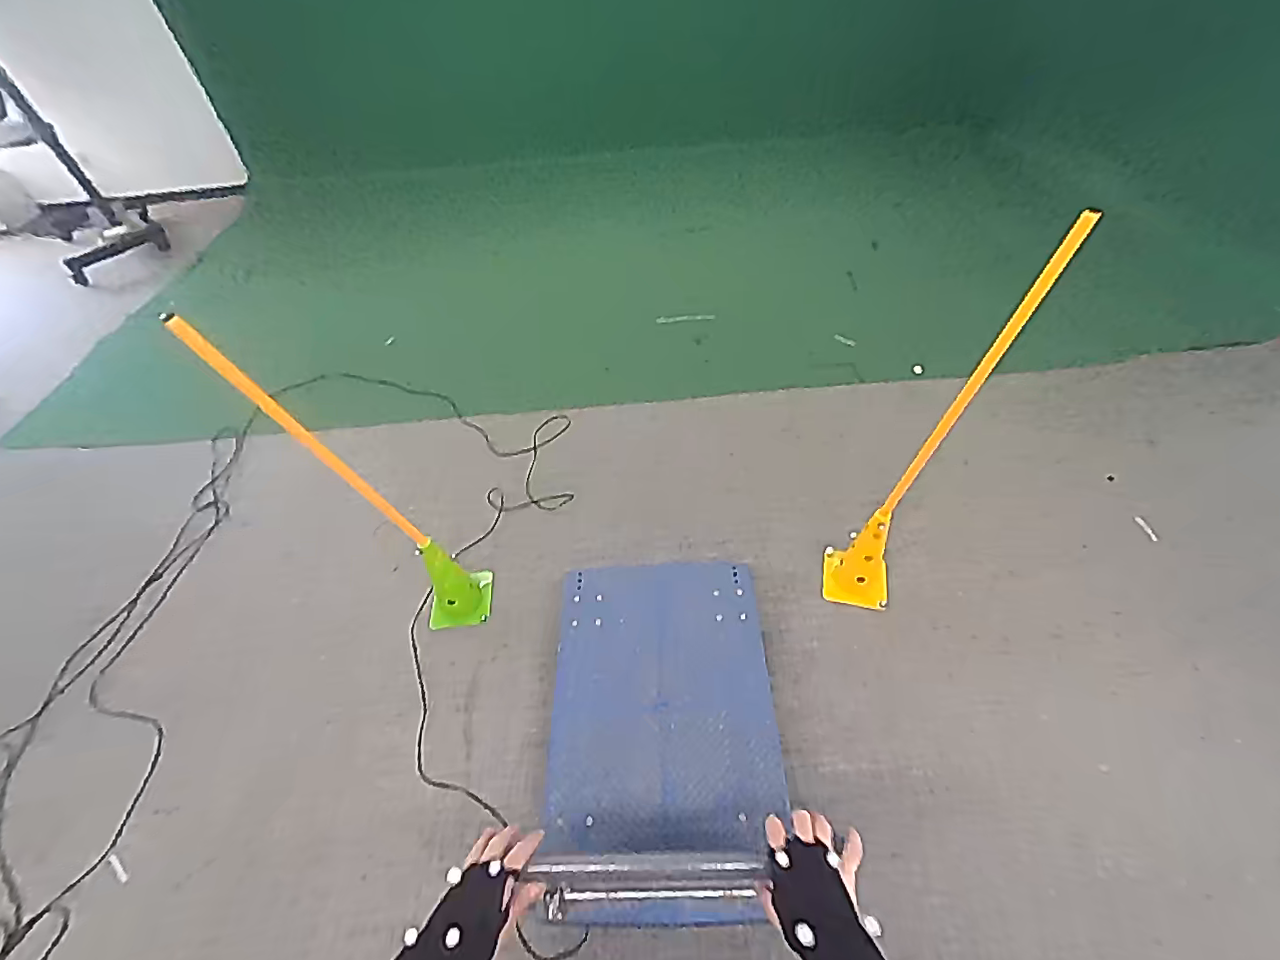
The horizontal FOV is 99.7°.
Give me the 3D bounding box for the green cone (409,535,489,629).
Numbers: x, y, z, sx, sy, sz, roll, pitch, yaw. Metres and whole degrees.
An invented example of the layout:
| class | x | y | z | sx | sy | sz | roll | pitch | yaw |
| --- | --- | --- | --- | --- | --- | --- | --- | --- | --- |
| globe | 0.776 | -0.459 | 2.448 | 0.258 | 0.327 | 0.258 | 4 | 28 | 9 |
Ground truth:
| class | x | y | z | sx | sy | sz | roll | pitch | yaw |
| --- | --- | --- | --- | --- | --- | --- | --- | --- | --- |
| green cone | -0.632 | 0.290 | 1.711 | 0.202 | 0.368 | 0.200 | -8 | 48 | 0 |
